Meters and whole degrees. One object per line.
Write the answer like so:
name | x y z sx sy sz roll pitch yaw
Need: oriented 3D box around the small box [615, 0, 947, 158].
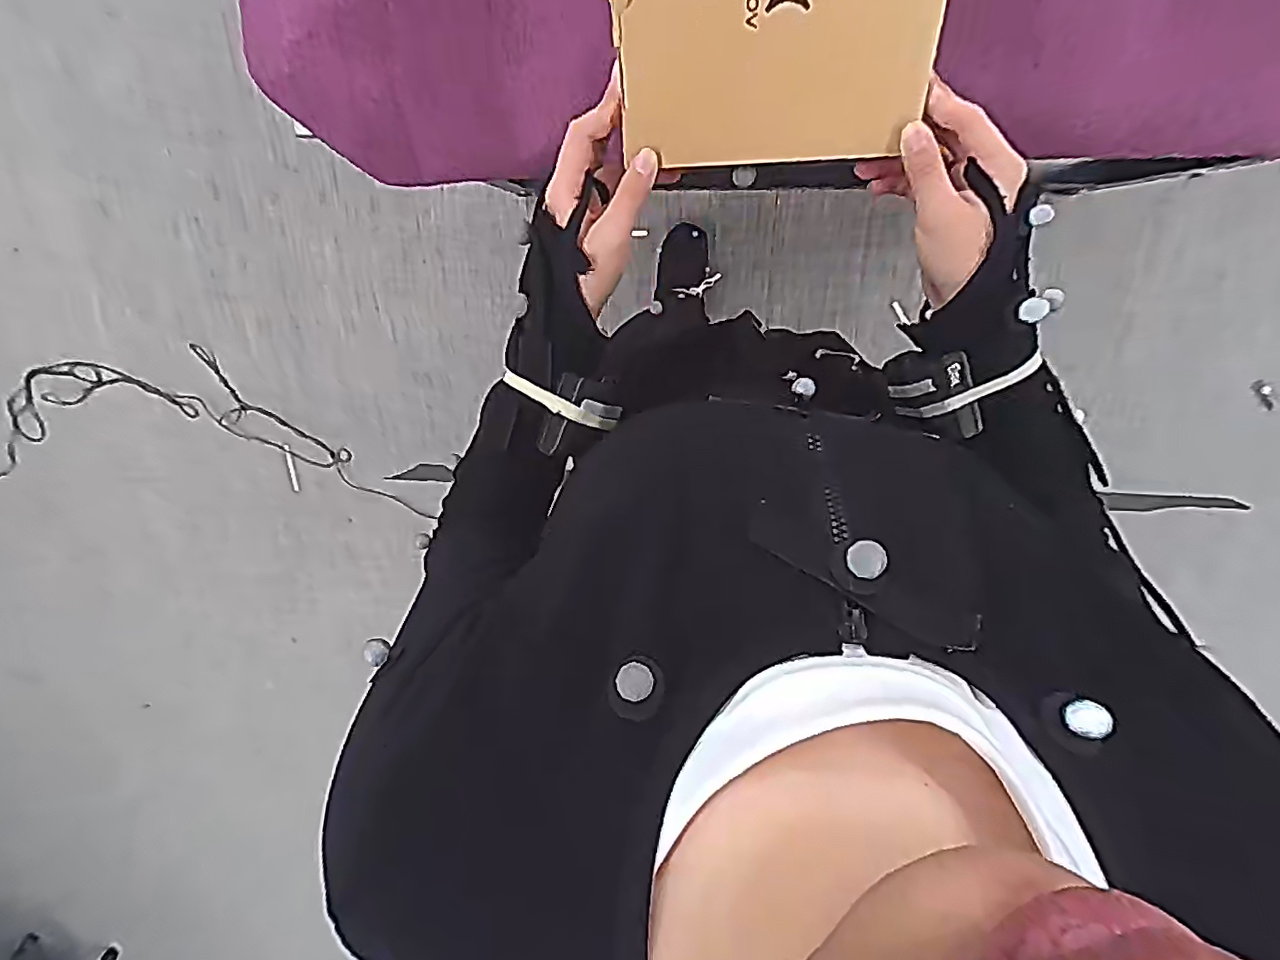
small box | 0.075 -0.309 0.338 0.179 0.176 0.168 -1 126 3
